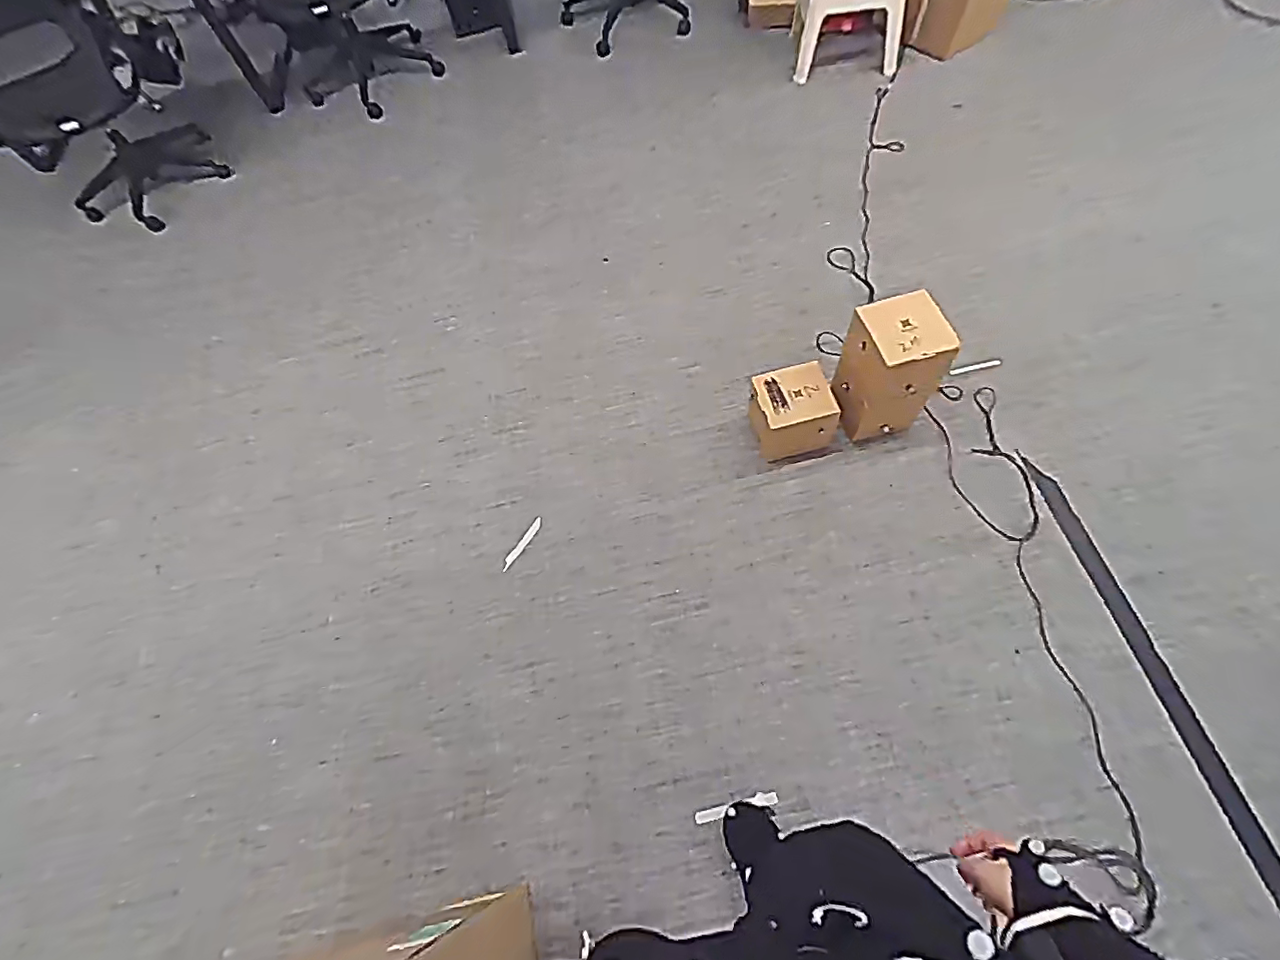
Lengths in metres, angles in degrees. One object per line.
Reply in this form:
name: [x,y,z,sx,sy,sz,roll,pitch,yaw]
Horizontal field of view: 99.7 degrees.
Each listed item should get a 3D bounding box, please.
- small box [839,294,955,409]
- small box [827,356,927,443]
small box: [0.585,-0.294,1.260,0.168,0.176,0.179,-15,64,1]
small box: [0.604,-0.222,1.407,0.168,0.176,0.179,-14,64,1]
